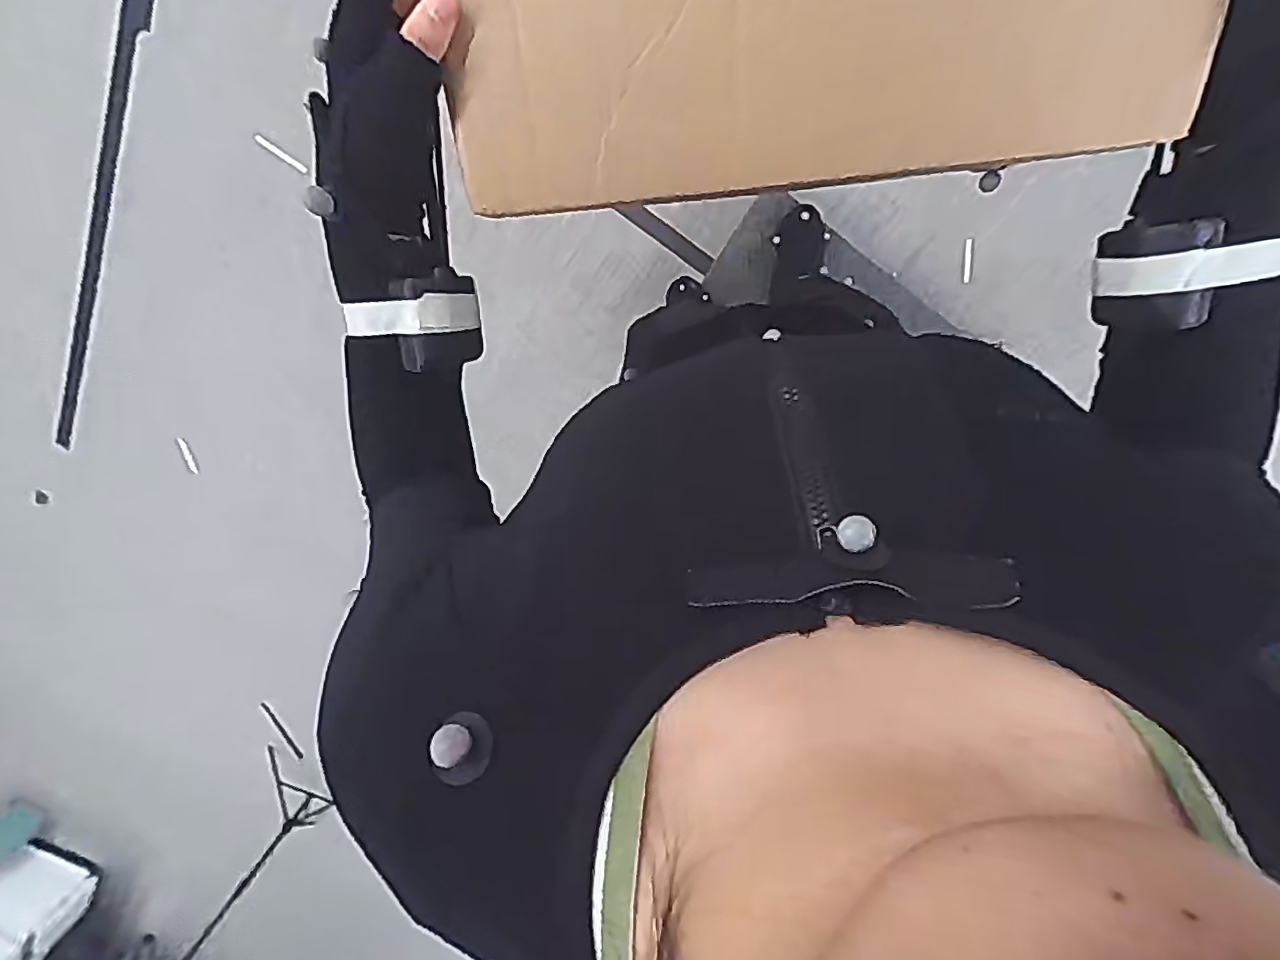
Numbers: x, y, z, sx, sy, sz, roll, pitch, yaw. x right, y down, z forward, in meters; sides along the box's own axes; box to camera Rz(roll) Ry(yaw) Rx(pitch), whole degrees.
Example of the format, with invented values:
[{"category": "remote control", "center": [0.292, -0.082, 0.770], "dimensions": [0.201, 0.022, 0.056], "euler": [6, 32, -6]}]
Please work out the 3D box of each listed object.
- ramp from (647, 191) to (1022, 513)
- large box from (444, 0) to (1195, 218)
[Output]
[{"category": "ramp", "center": [0.559, -0.297, 1.487], "dimensions": [0.991, 0.206, 0.509], "euler": [31, 112, -8]}, {"category": "large box", "center": [0.094, -0.385, 0.389], "dimensions": [0.408, 0.320, 0.320], "euler": [-3, 117, 5]}]
